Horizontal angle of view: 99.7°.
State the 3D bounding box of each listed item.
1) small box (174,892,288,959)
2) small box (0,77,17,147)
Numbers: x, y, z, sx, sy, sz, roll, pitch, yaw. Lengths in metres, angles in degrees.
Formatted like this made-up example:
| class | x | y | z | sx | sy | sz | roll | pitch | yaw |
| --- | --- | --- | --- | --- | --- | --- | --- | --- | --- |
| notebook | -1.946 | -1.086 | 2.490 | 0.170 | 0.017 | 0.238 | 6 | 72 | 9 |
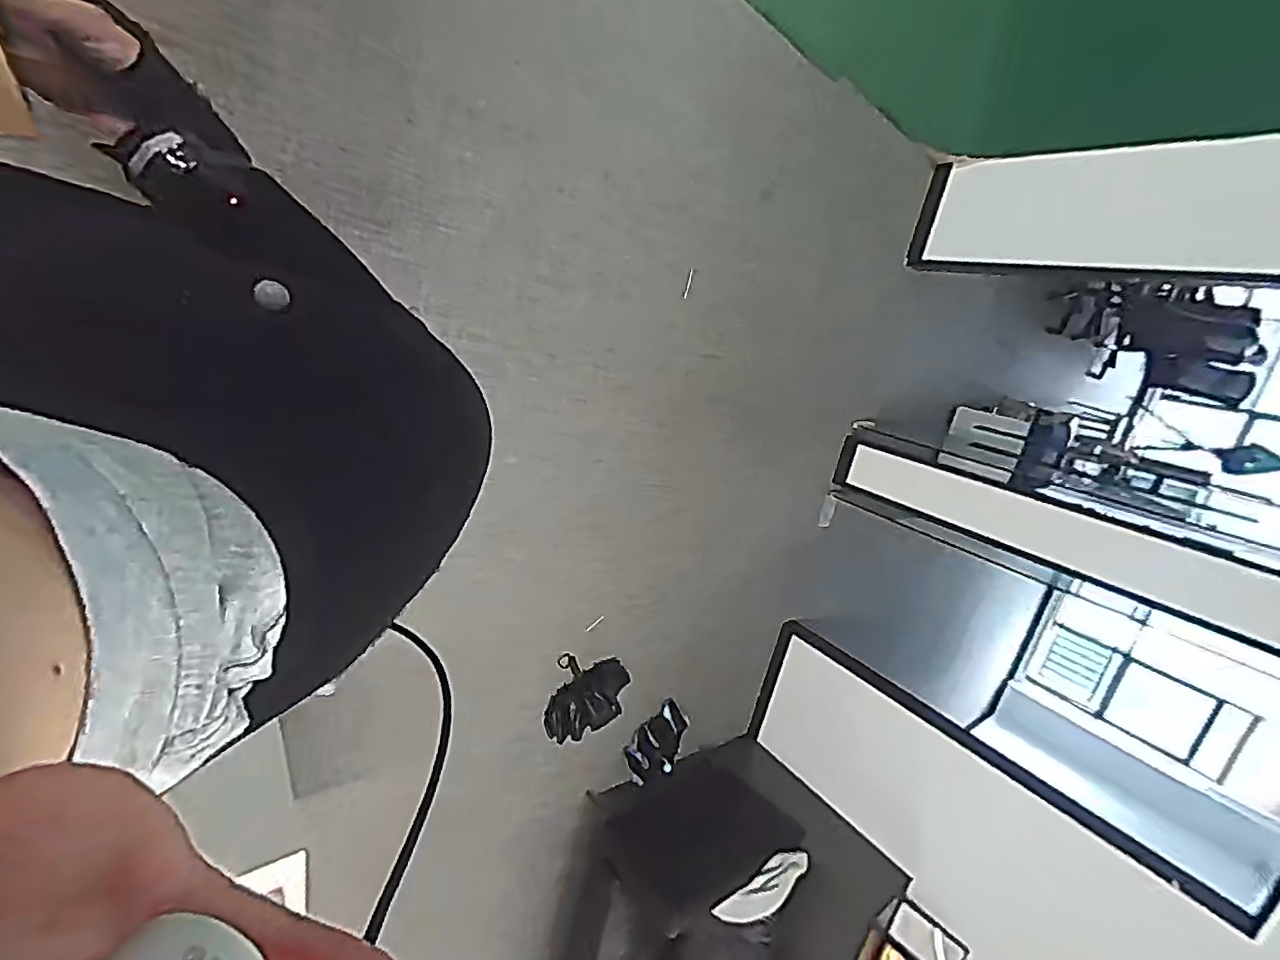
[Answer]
| class | x | y | z | sx | sy | sz | roll | pitch | yaw |
| --- | --- | --- | --- | --- | --- | --- | --- | --- | --- |
| small box | -0.766 | 0.943 | 1.020 | 0.168 | 0.176 | 0.179 | -5 | 114 | -38 |
| small box | -0.452 | -0.280 | 0.255 | 0.168 | 0.176 | 0.179 | -19 | 134 | -39 |
